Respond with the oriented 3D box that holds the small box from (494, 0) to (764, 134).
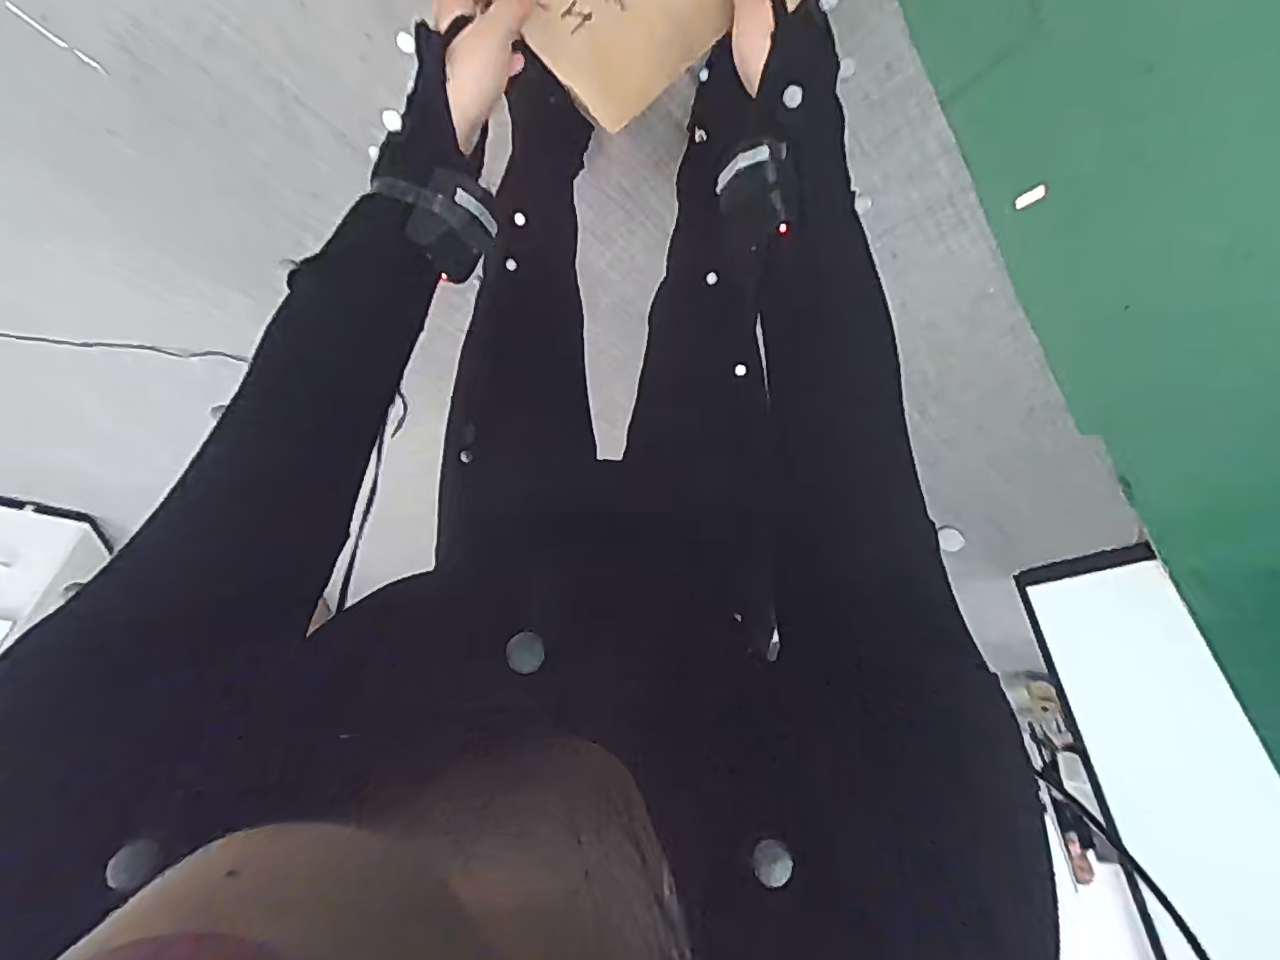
[{"bbox_3d":[-0.012,-0.449,0.441,0.179,0.176,0.168,-21,146,36],"label":"small box"}]
